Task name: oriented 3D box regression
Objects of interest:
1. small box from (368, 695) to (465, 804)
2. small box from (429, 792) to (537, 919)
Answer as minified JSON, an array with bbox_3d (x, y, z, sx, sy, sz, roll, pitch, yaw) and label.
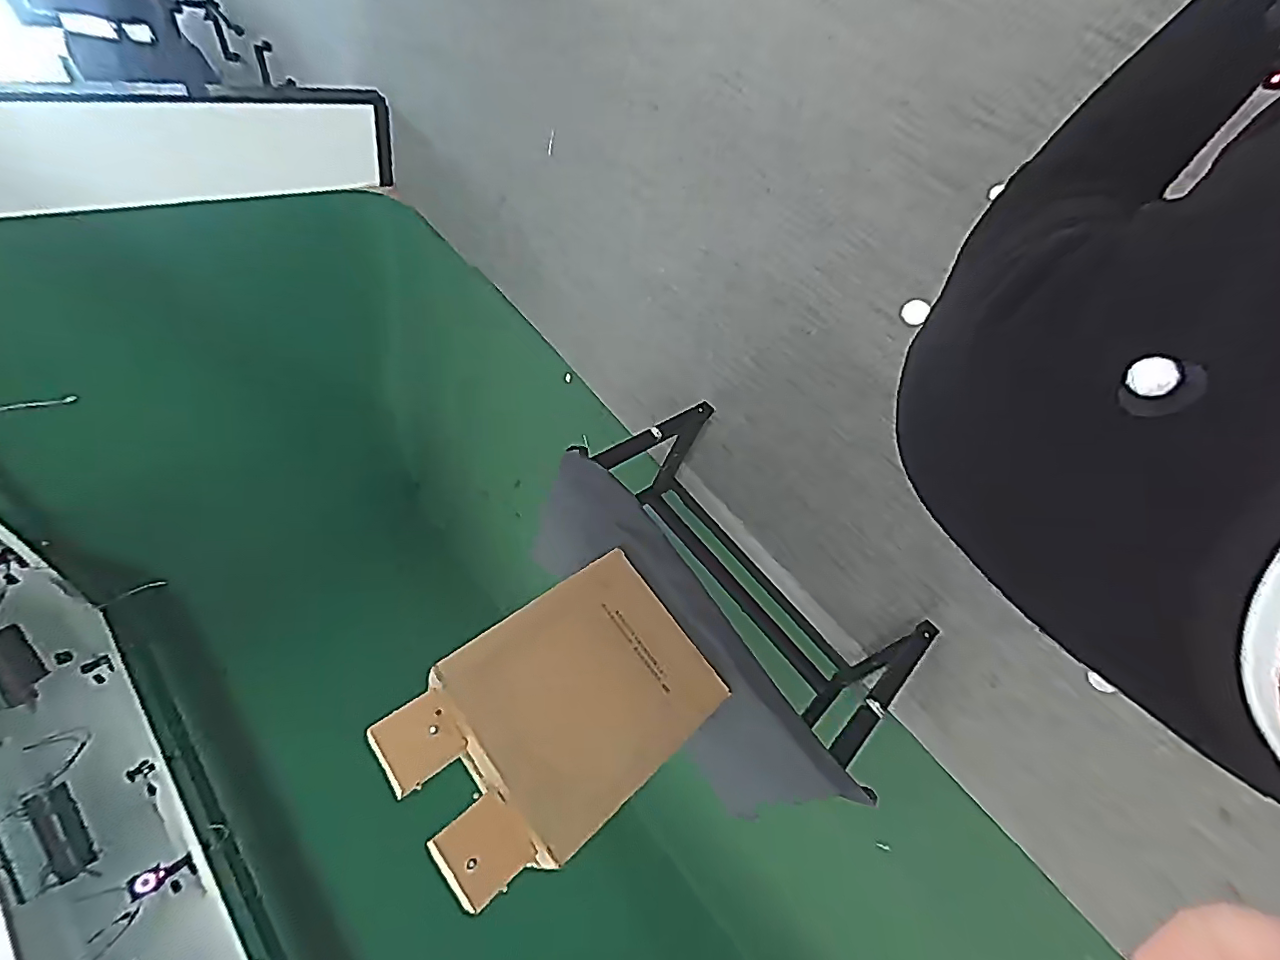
[{"bbox_3d":[-0.554,0.667,1.344,0.168,0.176,0.179,51,140,15],"label":"small box"},{"bbox_3d":[-0.366,0.870,1.263,0.179,0.176,0.168,51,140,14],"label":"small box"}]
